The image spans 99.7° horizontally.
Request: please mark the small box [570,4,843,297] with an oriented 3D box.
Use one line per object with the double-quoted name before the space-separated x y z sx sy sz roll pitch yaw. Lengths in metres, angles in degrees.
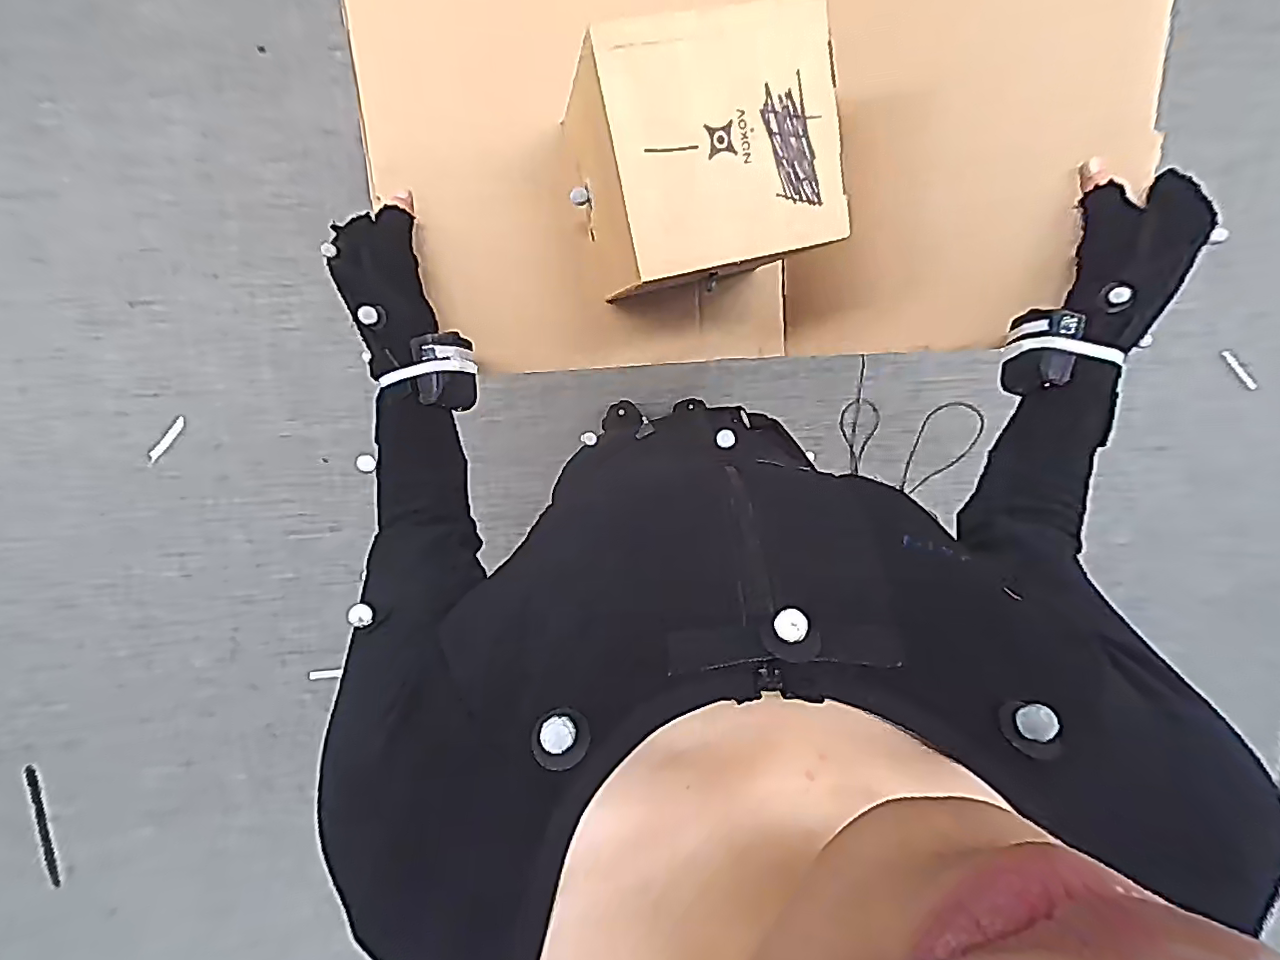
"small box" 0.048 -0.265 0.474 0.179 0.176 0.168 -15 106 -9
